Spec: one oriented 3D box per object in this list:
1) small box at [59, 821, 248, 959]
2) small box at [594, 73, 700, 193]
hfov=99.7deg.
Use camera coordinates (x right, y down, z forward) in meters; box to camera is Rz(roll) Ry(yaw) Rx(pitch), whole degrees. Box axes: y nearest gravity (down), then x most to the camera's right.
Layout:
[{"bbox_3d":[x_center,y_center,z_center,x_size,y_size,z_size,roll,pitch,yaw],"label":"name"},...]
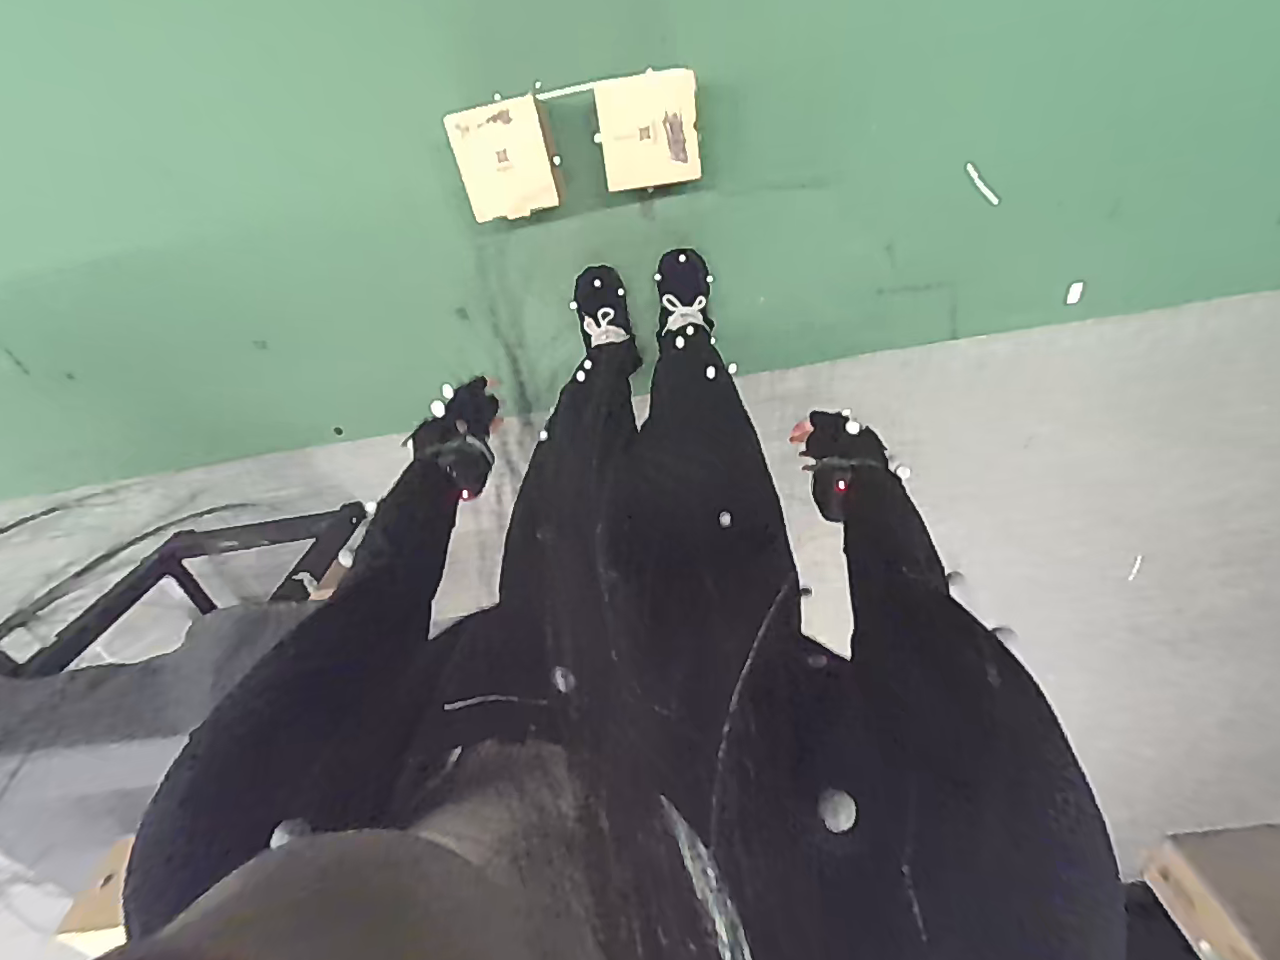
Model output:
[{"bbox_3d":[-0.931,0.799,1.055,0.179,0.176,0.168,-11,123,6],"label":"small box"},{"bbox_3d":[0.014,-0.655,1.025,0.179,0.176,0.168,-7,122,3],"label":"small box"}]
